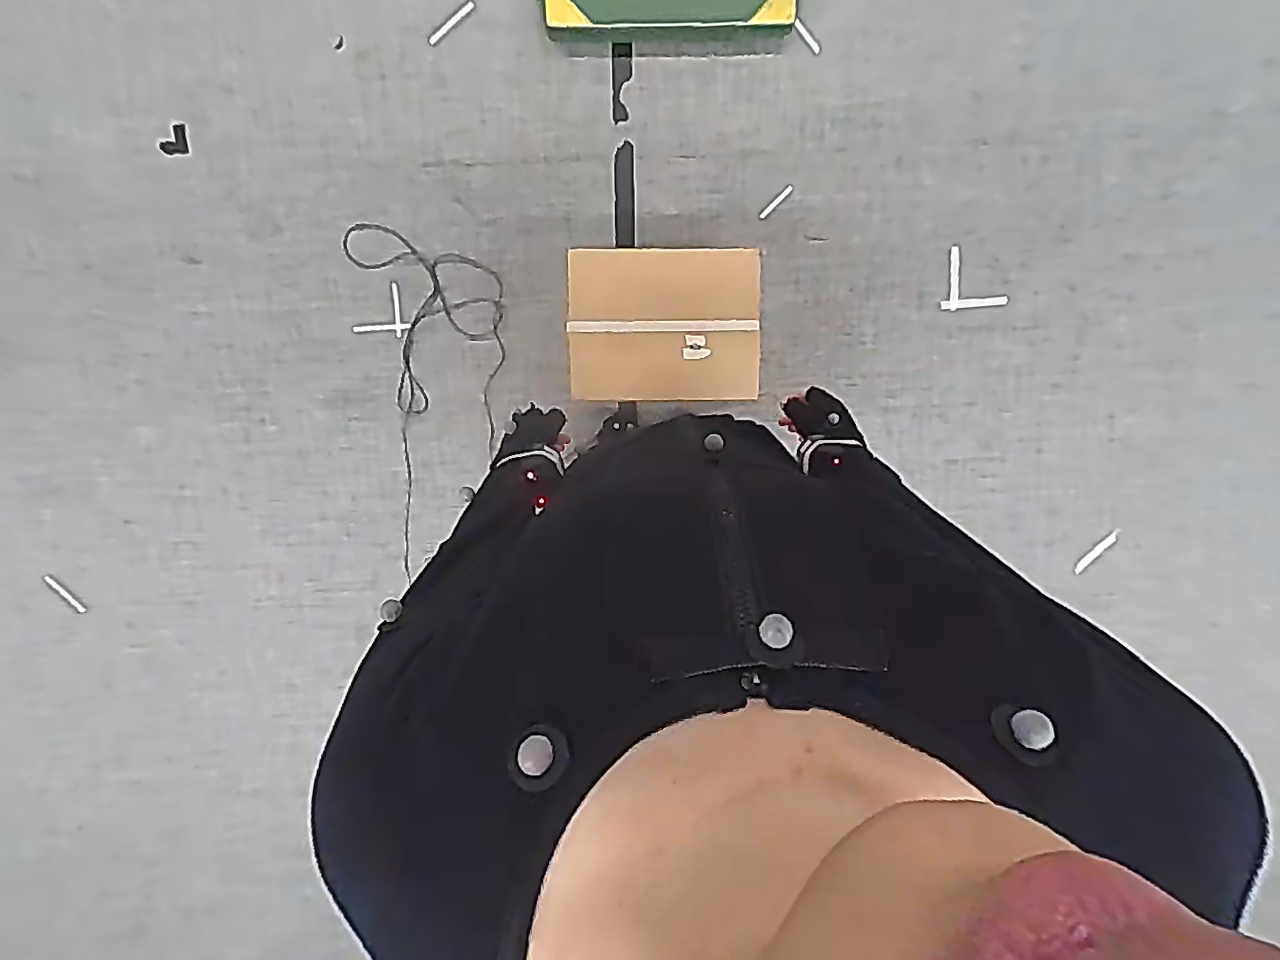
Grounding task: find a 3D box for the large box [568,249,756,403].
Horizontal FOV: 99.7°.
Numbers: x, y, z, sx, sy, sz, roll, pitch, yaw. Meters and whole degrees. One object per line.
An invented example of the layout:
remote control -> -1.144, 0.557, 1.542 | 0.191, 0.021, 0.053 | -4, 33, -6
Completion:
large box -> 0.045, -0.349, 1.302 | 0.408, 0.320, 0.320 | -1, 98, -1
